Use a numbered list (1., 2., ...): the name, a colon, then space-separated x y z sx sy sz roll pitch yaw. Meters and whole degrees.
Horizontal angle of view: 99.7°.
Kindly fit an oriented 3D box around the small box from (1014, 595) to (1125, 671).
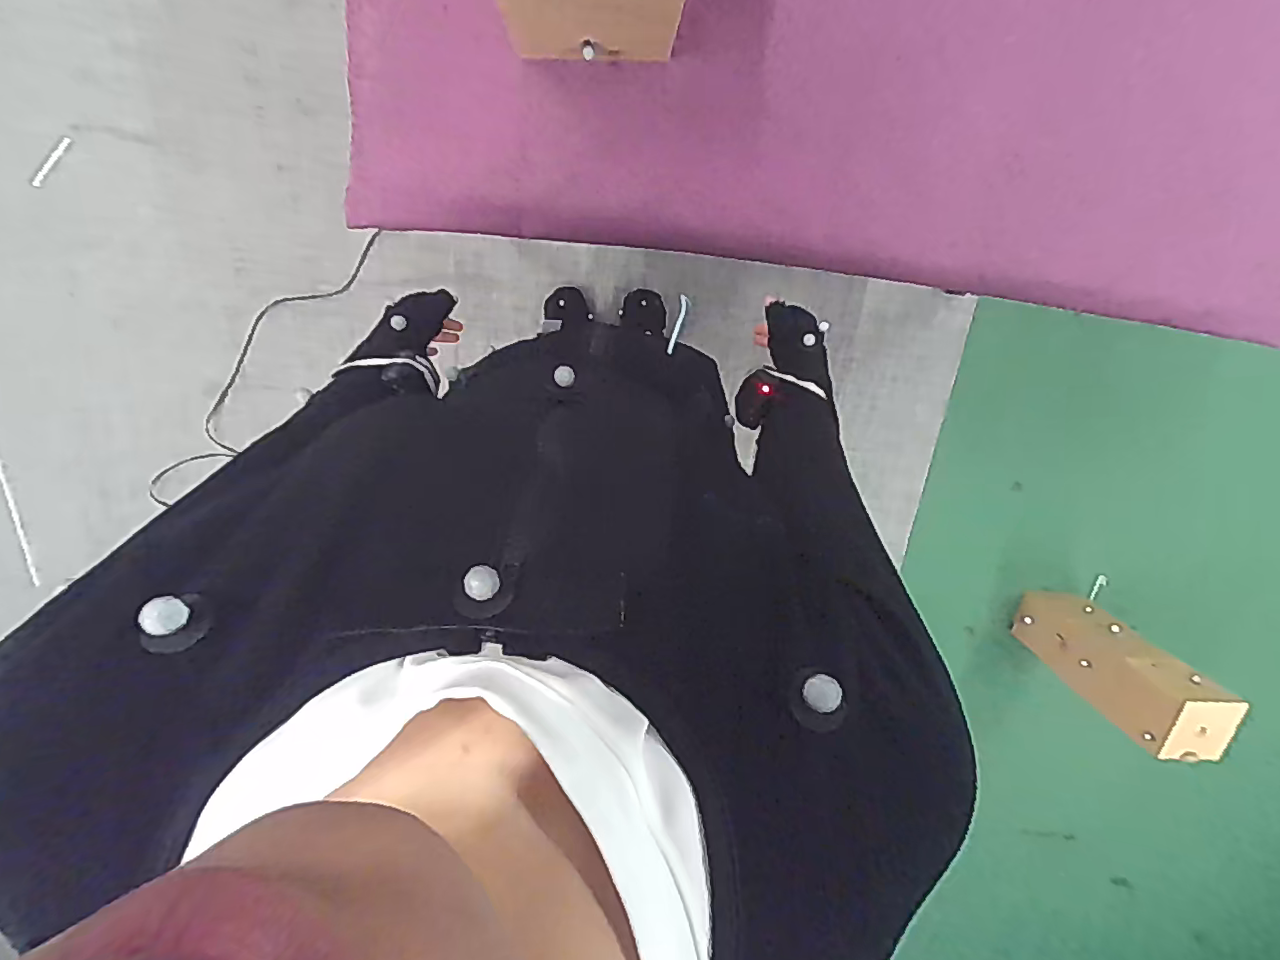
1. small box: 1.301 0.467 1.651 0.179 0.176 0.168 5 109 -4

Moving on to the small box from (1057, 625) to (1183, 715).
1. small box: 1.312 0.528 1.496 0.168 0.176 0.179 6 110 -7

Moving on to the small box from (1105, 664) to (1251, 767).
1. small box: 1.321 0.579 1.344 0.168 0.176 0.179 4 110 -5
